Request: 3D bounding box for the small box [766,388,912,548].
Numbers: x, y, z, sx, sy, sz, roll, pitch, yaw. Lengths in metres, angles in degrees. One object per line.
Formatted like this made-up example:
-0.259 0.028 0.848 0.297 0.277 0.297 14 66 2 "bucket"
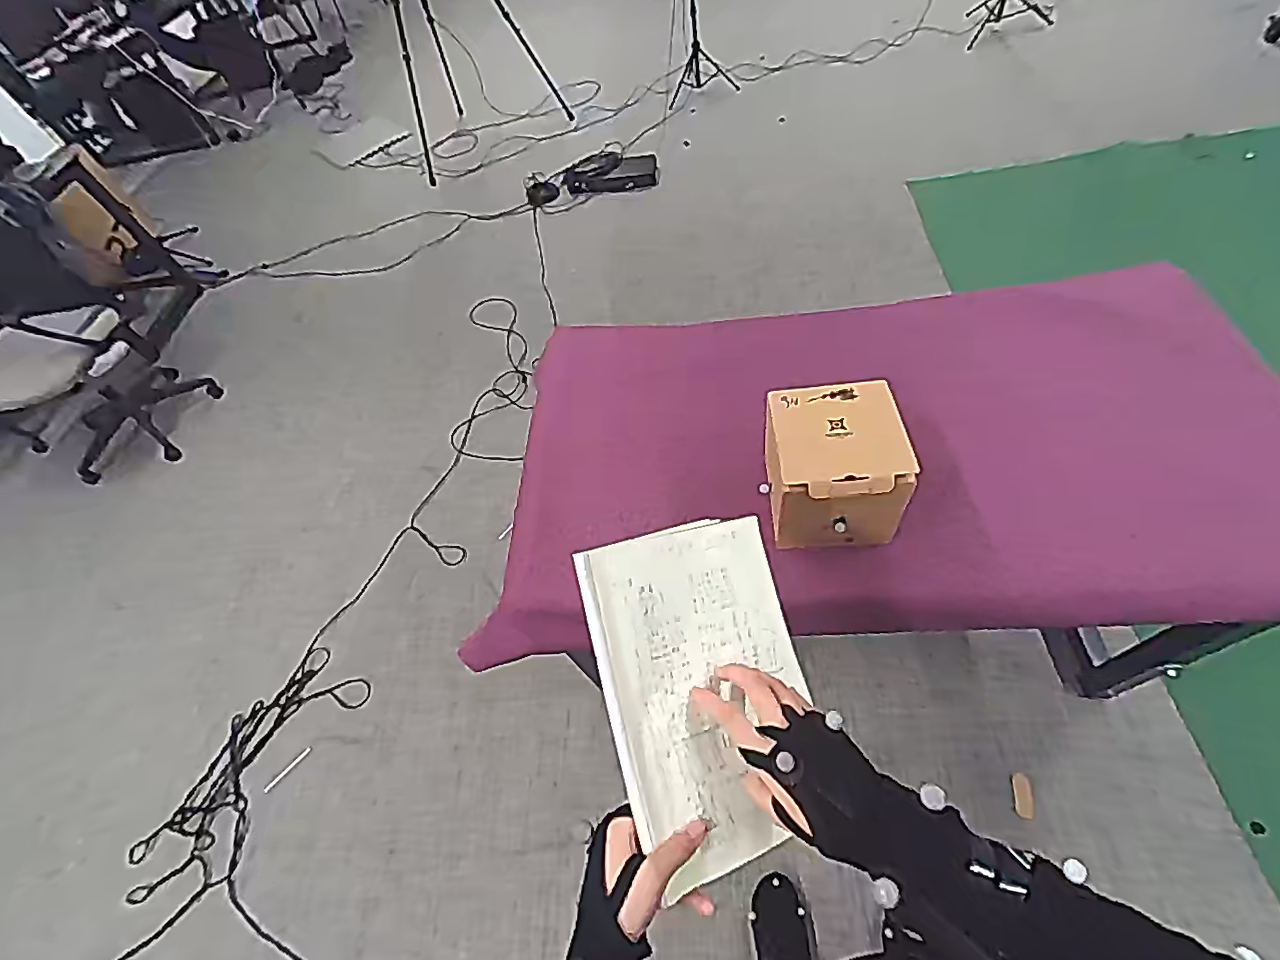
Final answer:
0.277 -0.009 0.794 0.168 0.176 0.179 -4 55 9 "small box"
